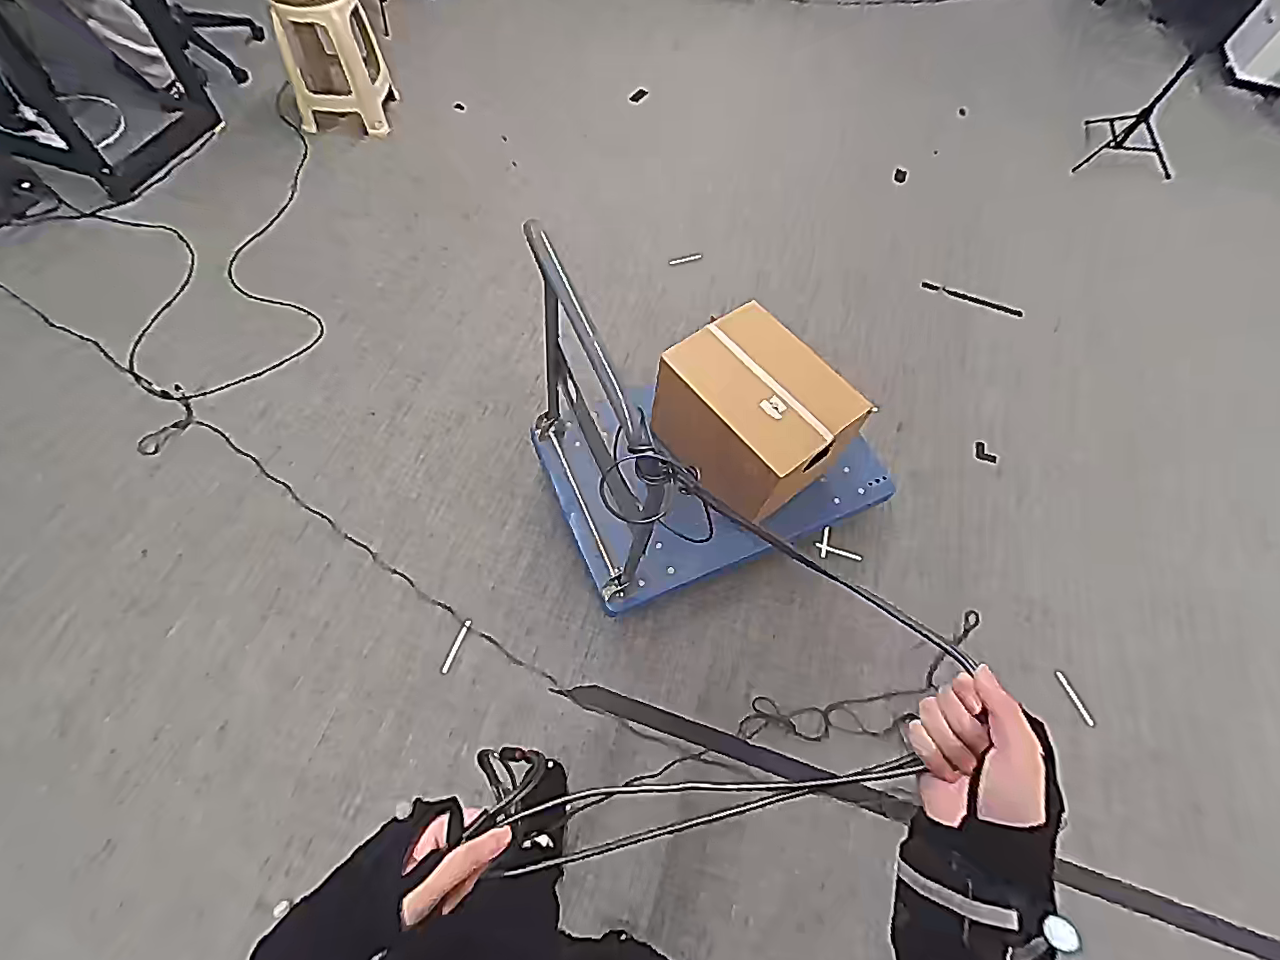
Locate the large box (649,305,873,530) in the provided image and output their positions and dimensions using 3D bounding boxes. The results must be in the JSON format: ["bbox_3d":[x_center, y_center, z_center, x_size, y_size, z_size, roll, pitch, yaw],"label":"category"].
[{"bbox_3d":[0.276,-0.152,1.362,0.320,0.320,0.408,-34,71,-19],"label":"large box"}]
